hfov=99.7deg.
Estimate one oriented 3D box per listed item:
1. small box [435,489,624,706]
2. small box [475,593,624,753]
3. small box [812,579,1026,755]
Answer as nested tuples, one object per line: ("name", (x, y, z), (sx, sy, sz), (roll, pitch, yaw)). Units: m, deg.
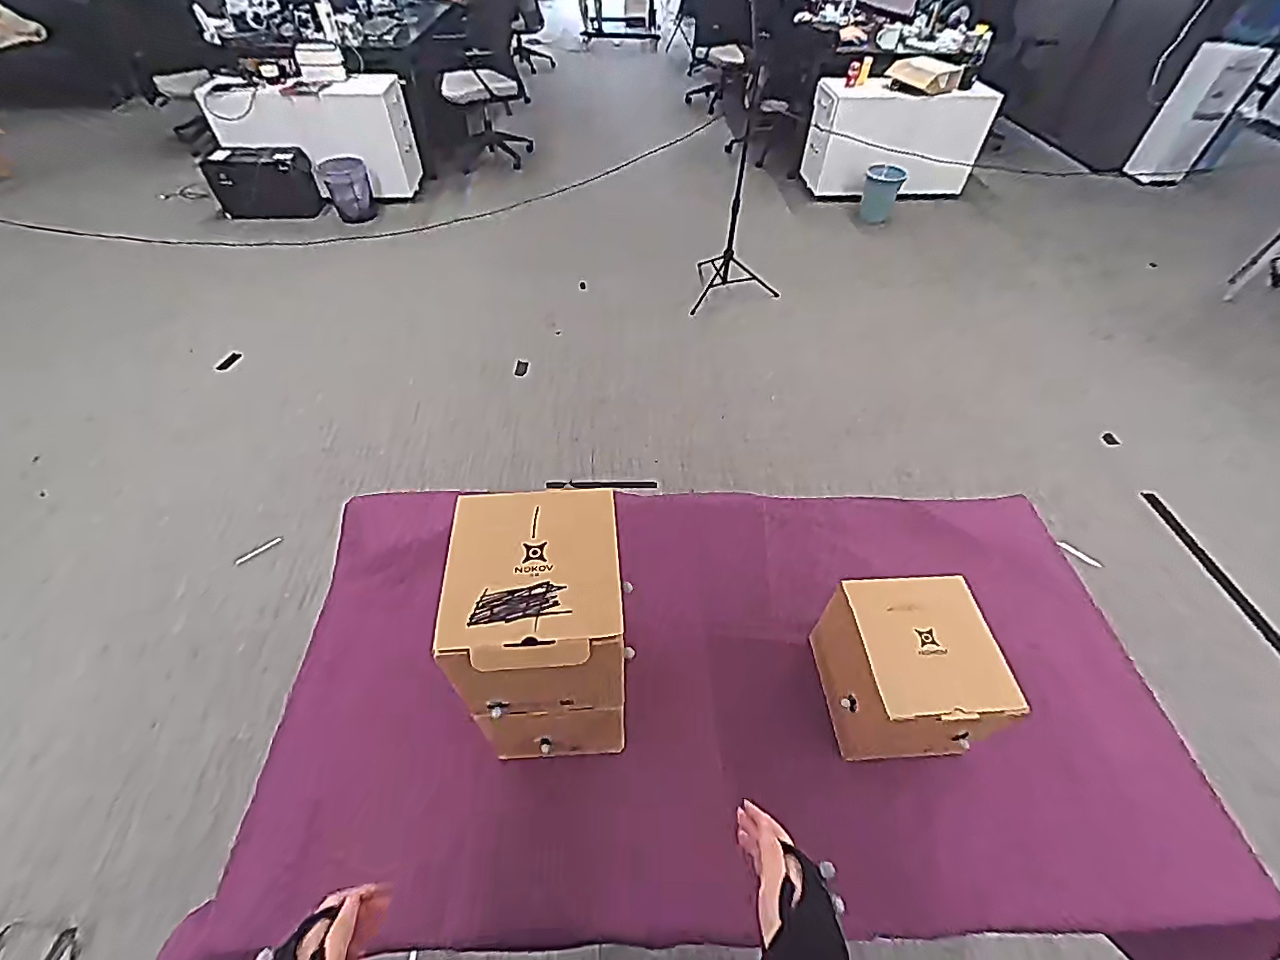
("small box", (-0.103, 0.131, 0.582), (0.168, 0.176, 0.179), (-2, 49, -4))
("small box", (-0.107, 0.238, 0.705), (0.168, 0.176, 0.179), (-1, 50, -3))
("small box", (0.343, 0.249, 0.708), (0.168, 0.176, 0.179), (-1, 49, -3))
